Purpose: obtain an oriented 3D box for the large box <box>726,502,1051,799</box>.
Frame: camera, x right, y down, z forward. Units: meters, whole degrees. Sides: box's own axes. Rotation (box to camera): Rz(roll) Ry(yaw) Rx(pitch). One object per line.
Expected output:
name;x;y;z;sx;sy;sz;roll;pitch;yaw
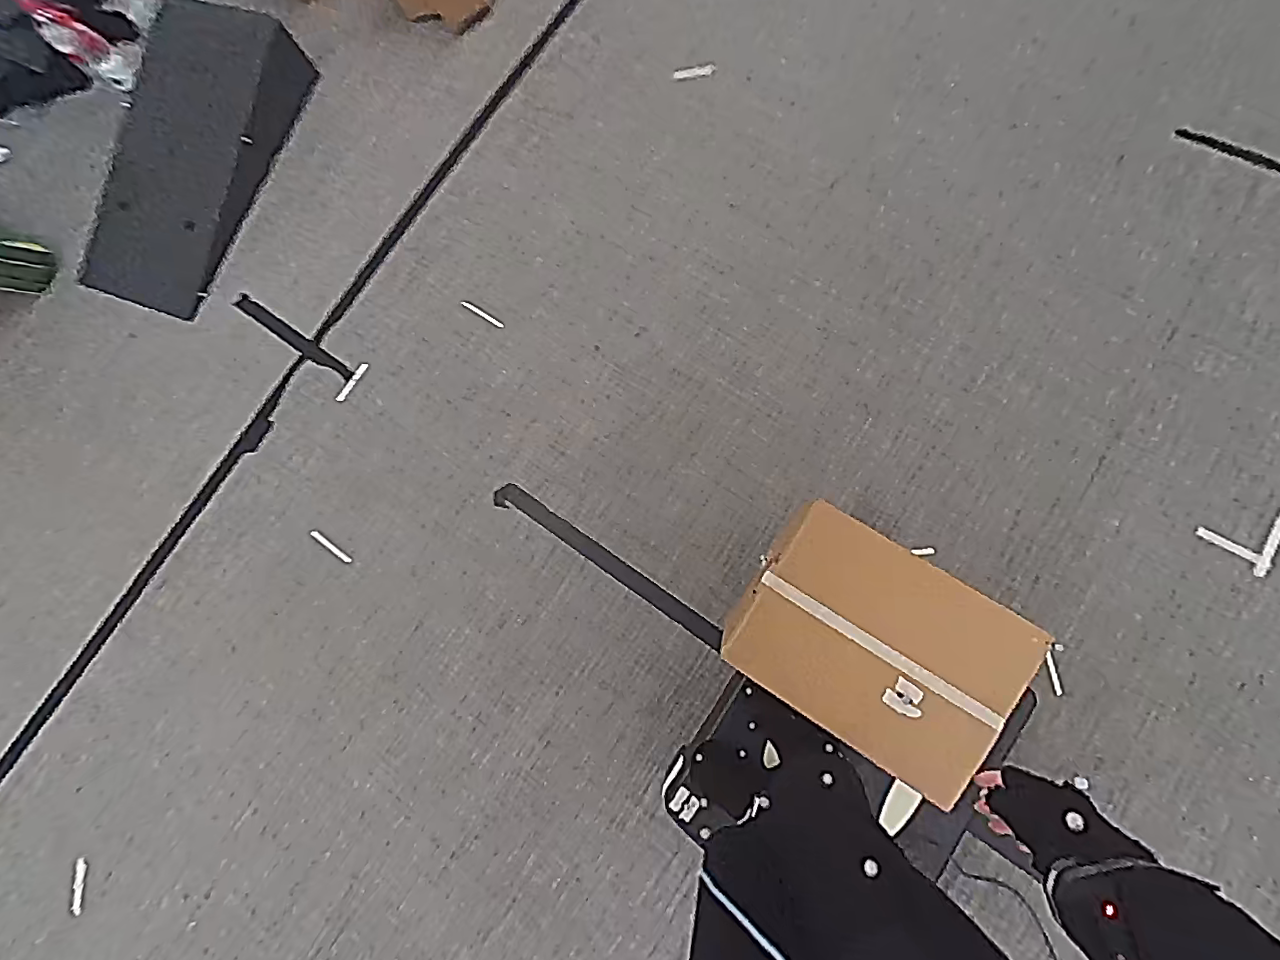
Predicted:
large box;0.407;0.275;1.005;0.408;0.320;0.320;31;91;11
